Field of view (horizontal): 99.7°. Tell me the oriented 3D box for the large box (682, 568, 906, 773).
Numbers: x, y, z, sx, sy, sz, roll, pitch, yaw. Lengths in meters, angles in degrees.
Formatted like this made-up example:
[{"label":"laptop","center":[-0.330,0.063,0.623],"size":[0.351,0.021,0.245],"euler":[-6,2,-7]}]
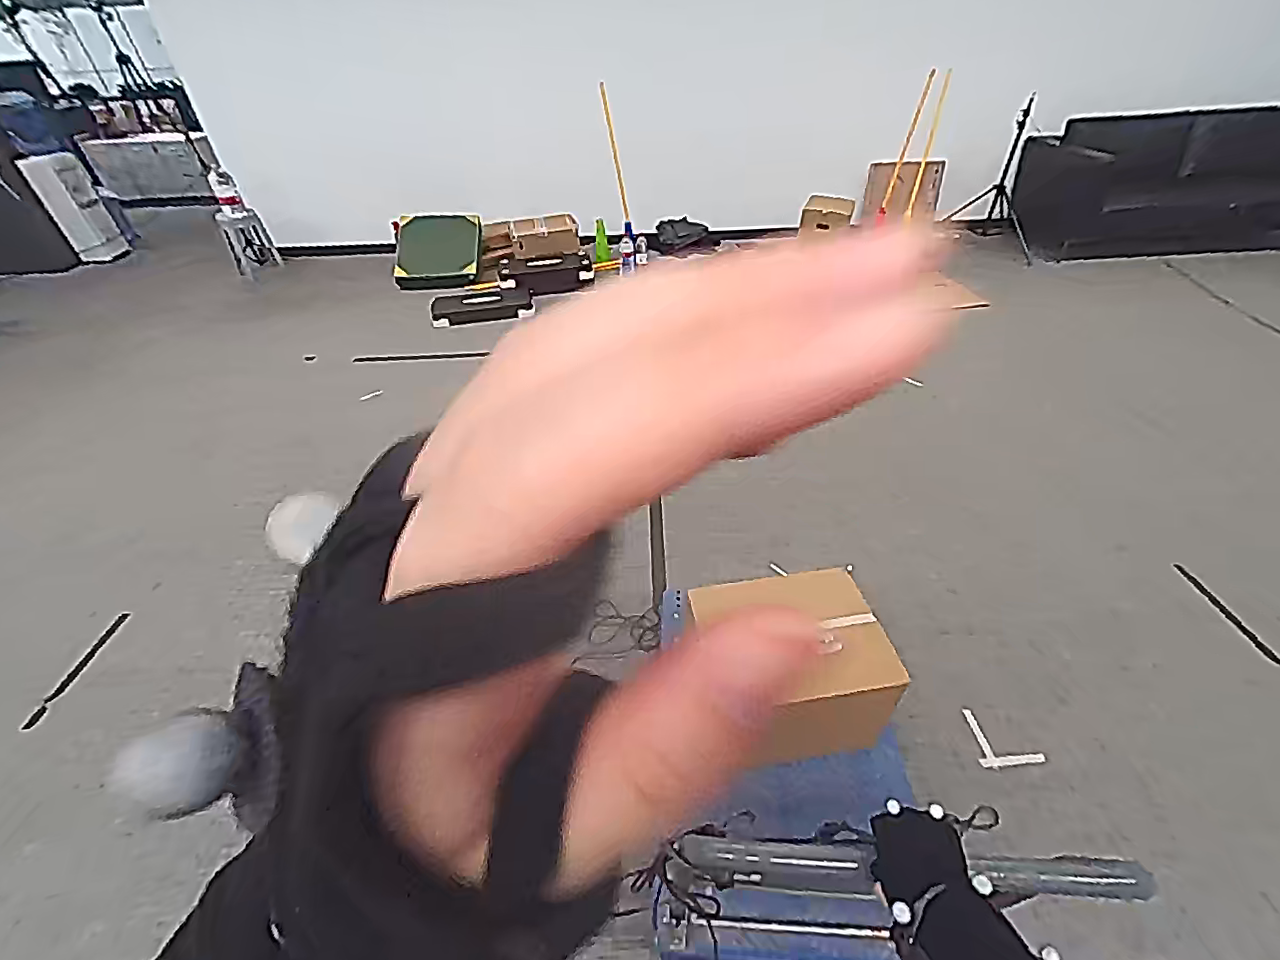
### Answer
[{"label":"large box","center":[0.331,0.451,1.292],"size":[0.408,0.320,0.320],"euler":[-6,41,-6]}]
